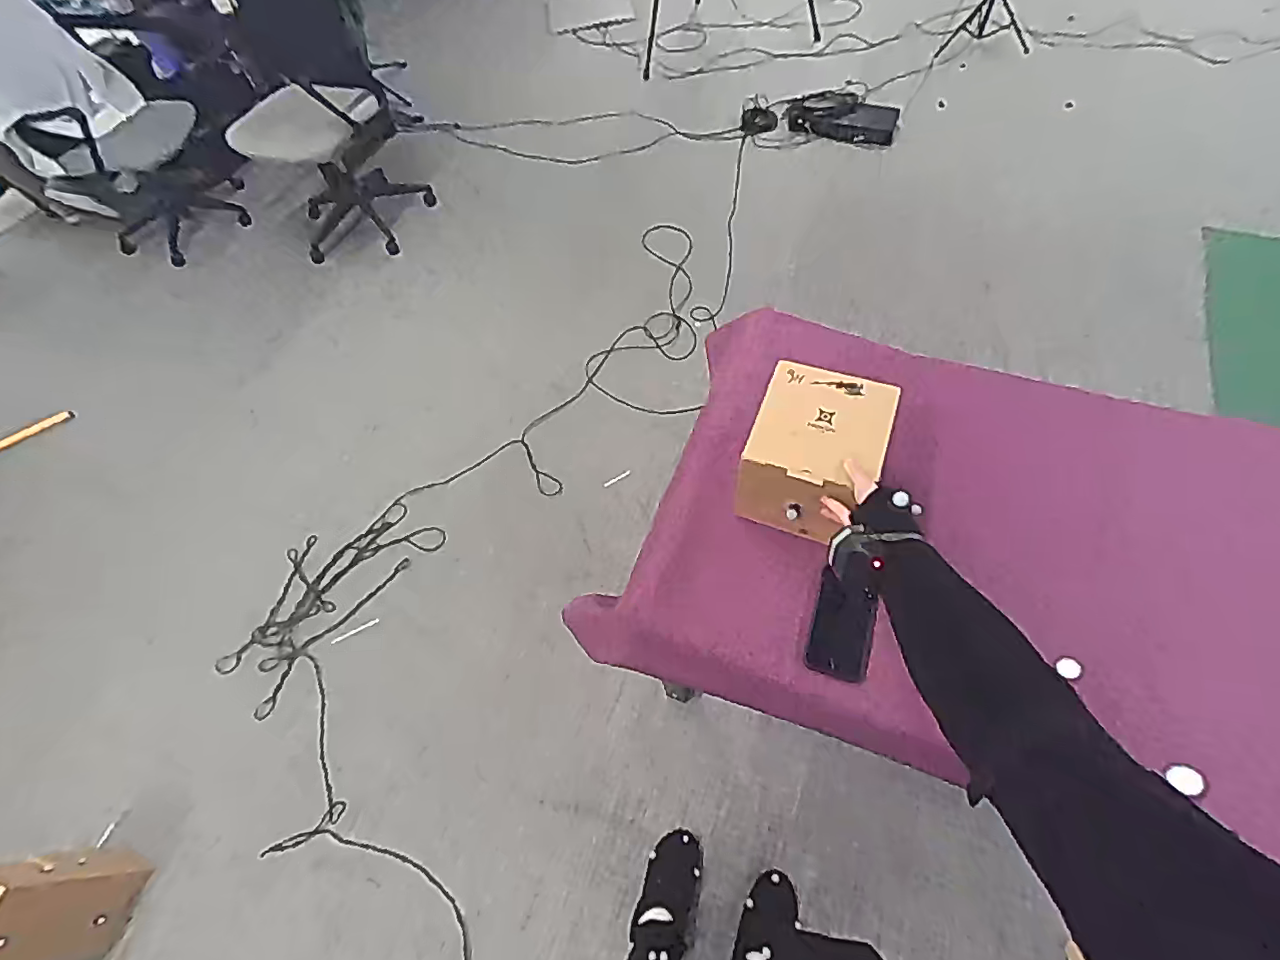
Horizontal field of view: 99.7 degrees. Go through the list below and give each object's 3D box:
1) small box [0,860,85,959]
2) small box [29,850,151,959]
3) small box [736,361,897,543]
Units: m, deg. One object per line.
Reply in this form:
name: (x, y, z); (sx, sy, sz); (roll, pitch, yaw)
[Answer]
small box: (-1.286, 0.881, 1.071); (0.168, 0.176, 0.179); (6, 61, 9)
small box: (-1.279, 0.955, 1.217); (0.179, 0.176, 0.168); (9, 61, 13)
small box: (0.242, -0.034, 0.769); (0.168, 0.176, 0.179); (18, 64, 17)
